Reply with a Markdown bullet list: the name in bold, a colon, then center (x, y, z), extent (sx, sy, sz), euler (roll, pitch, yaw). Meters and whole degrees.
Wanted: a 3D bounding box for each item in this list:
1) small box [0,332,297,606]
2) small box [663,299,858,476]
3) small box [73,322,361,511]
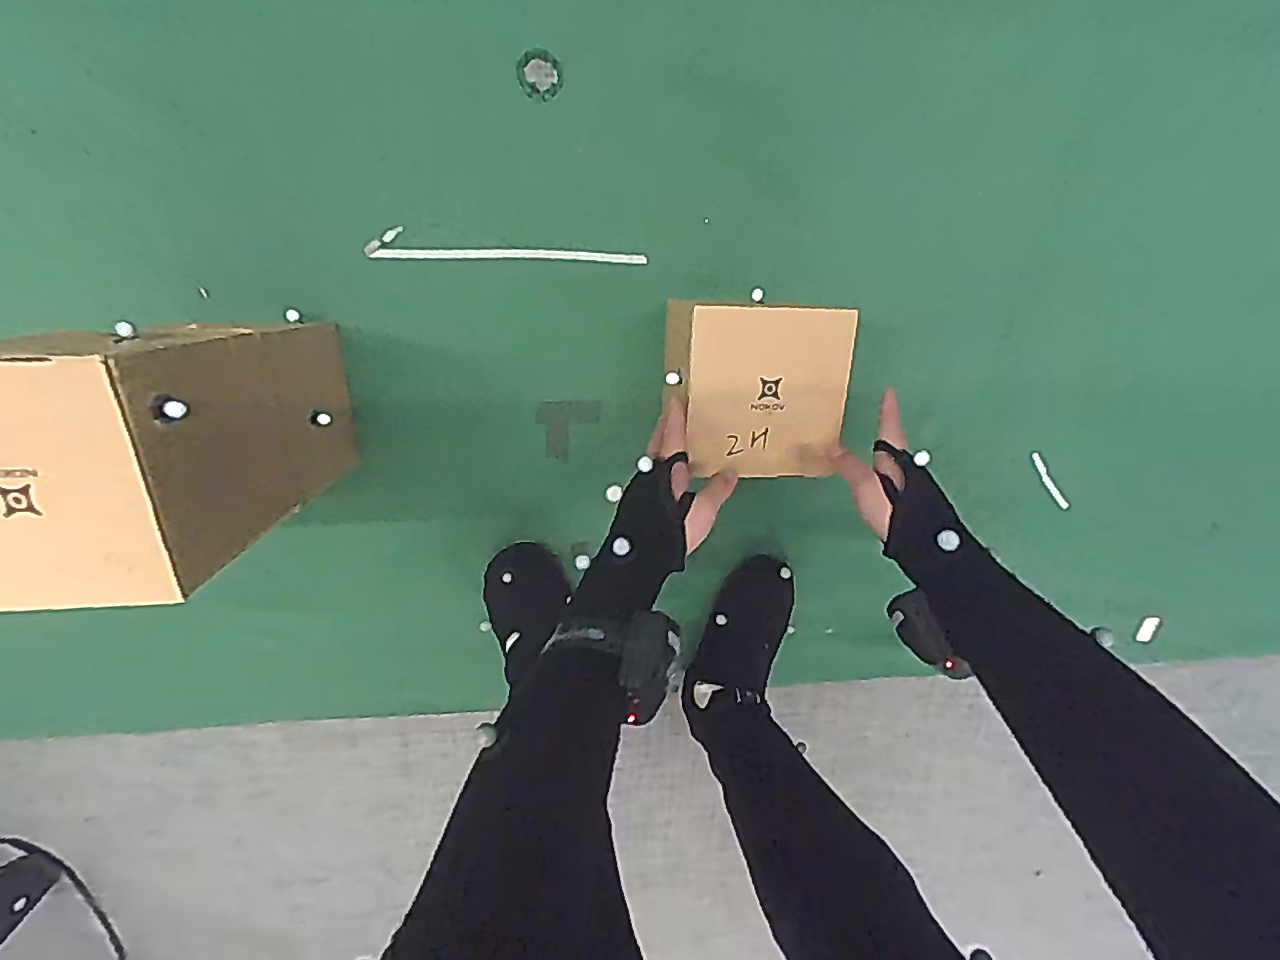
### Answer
- **small box**: center (-0.408, -0.021, 0.429), extent (0.168, 0.176, 0.179), euler (-2, 109, -4)
- **small box**: center (0.121, -0.113, 0.619), extent (0.168, 0.176, 0.179), euler (0, 110, -6)
- **small box**: center (-0.425, -0.075, 0.580), extent (0.168, 0.176, 0.179), euler (-1, 110, -4)
